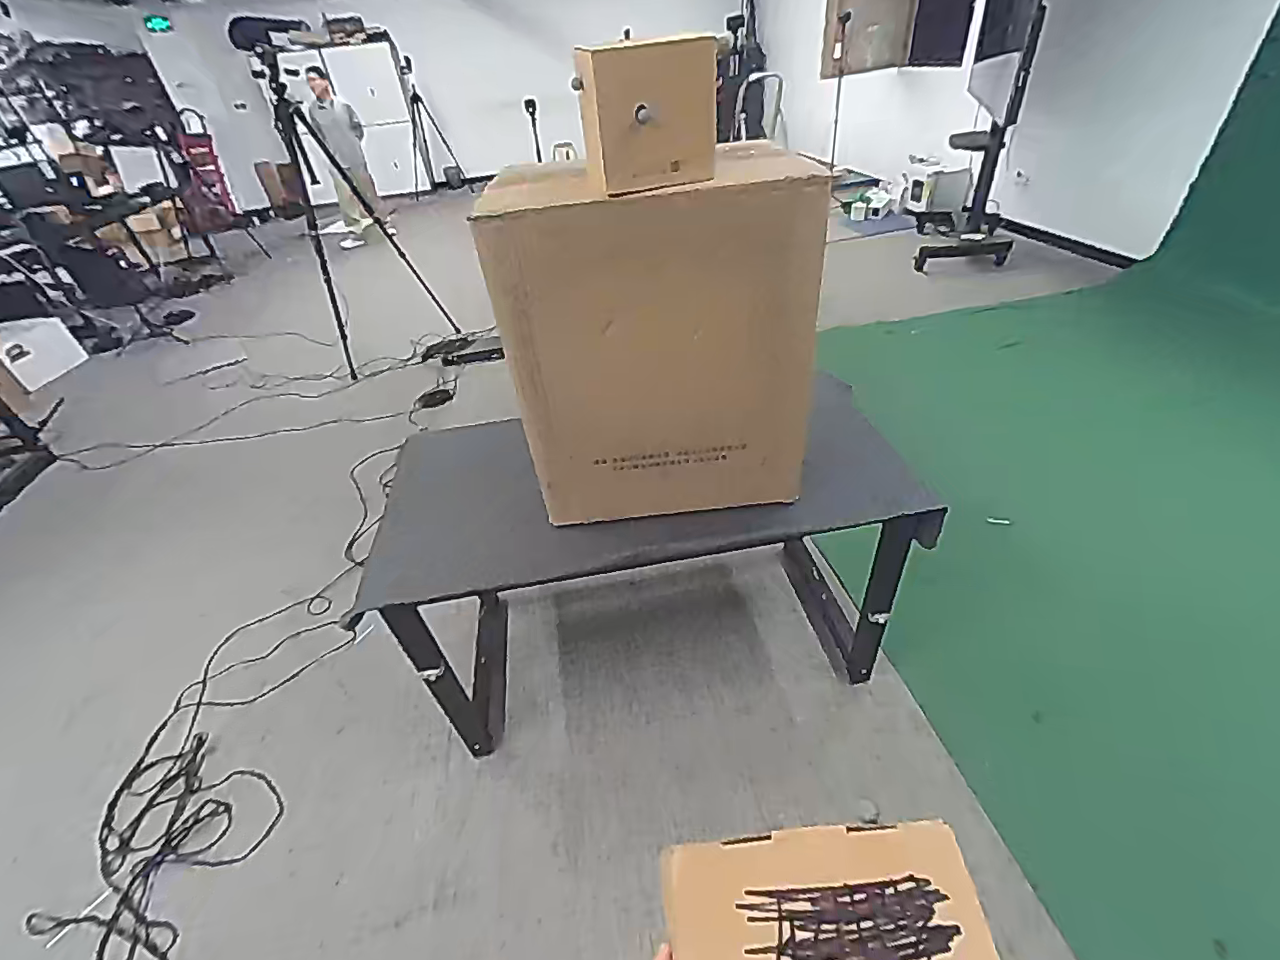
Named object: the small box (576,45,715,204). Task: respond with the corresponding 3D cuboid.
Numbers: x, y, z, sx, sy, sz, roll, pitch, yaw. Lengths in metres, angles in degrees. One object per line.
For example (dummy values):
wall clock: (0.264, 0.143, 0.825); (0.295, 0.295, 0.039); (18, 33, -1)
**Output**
small box: (0.010, -0.518, 0.793); (0.168, 0.176, 0.179); (-12, 40, -6)
